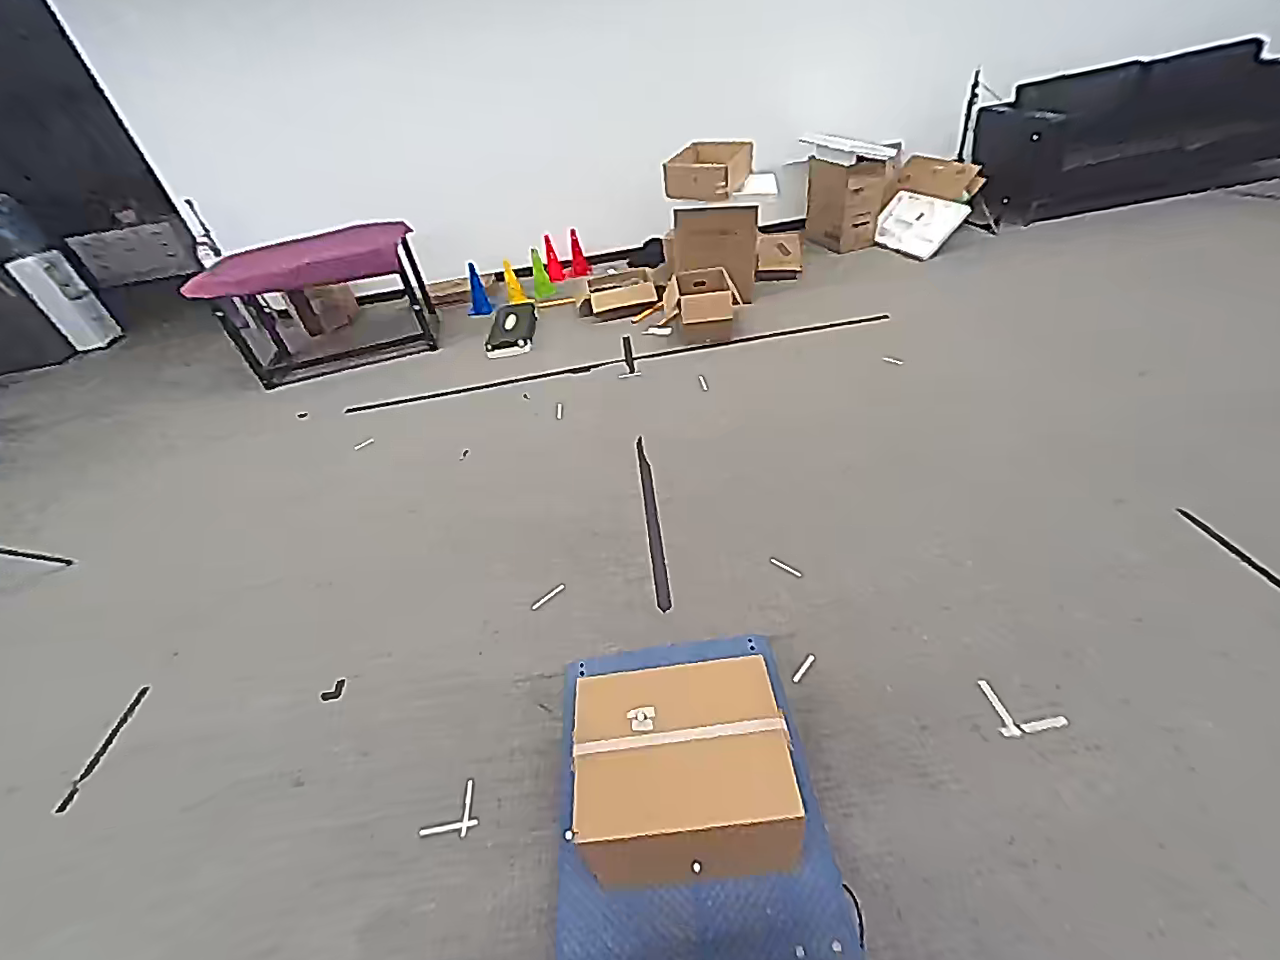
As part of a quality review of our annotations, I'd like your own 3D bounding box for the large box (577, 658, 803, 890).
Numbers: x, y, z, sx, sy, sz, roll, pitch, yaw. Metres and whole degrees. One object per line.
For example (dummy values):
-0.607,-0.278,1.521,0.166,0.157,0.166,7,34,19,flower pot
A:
0.099,0.622,1.144,0.408,0.320,0.320,-9,38,3,large box
